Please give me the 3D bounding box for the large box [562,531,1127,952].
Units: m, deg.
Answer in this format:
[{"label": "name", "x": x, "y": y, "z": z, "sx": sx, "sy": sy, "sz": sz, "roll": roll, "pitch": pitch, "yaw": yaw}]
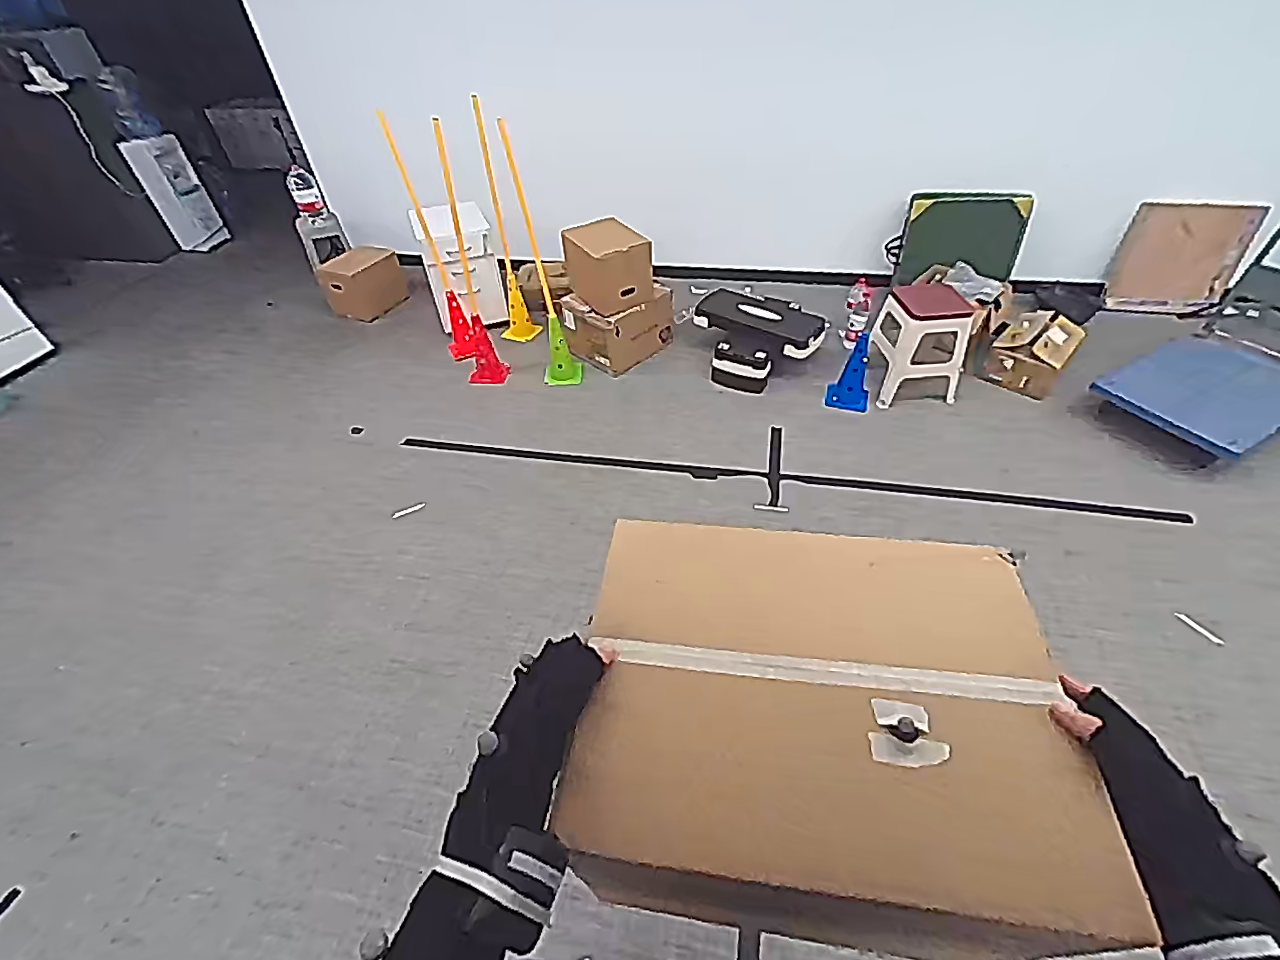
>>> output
[{"label": "large box", "x": 0.160, "y": 0.279, "z": 0.595, "sx": 0.408, "sy": 0.320, "sz": 0.320, "roll": 3, "pitch": 47, "yaw": 8}]
